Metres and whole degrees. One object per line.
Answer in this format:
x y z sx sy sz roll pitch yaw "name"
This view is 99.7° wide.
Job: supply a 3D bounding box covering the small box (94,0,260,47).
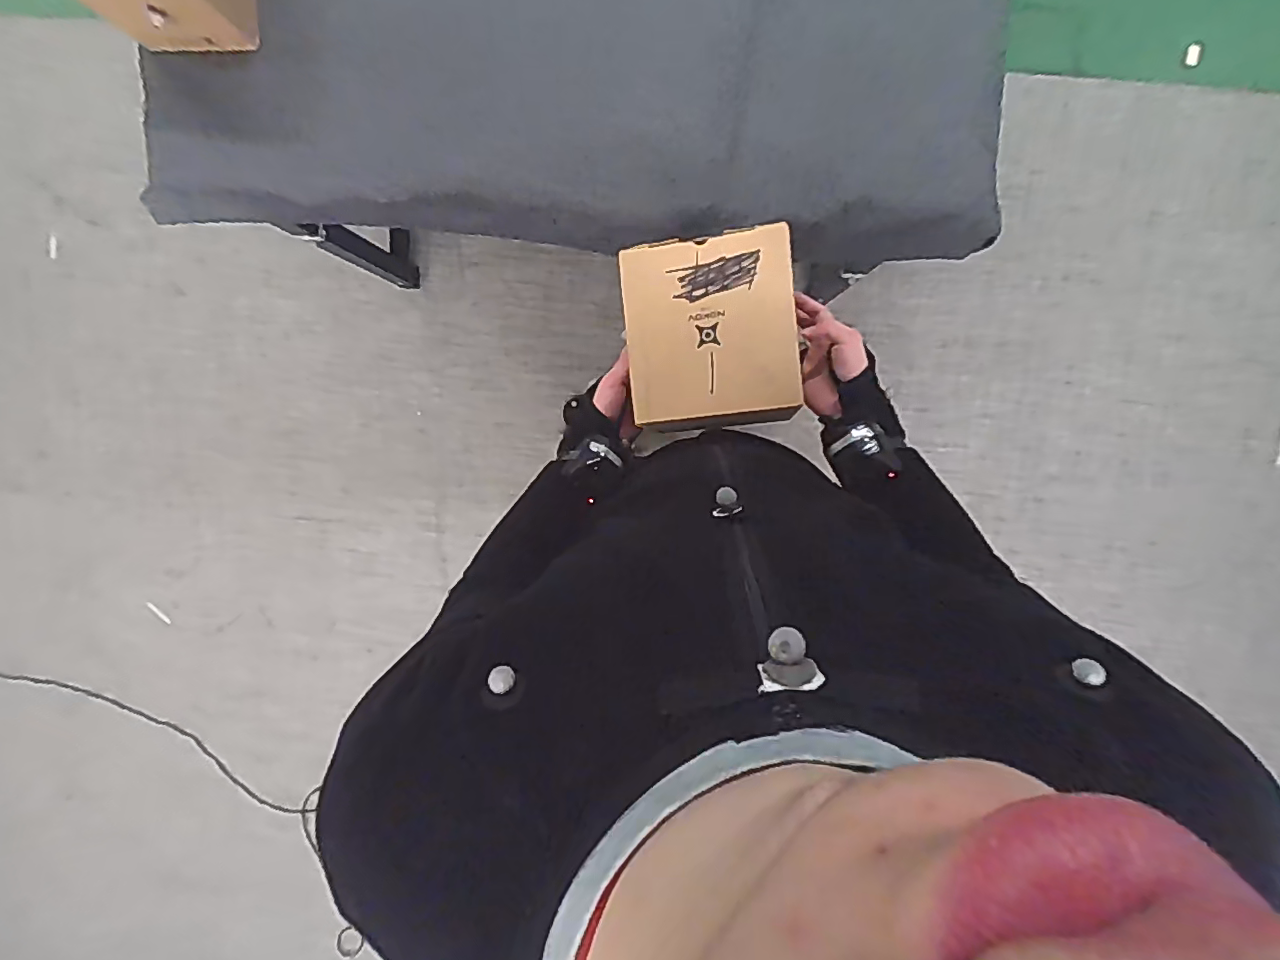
-0.623 -0.697 0.690 0.168 0.176 0.179 1 97 1 "small box"
